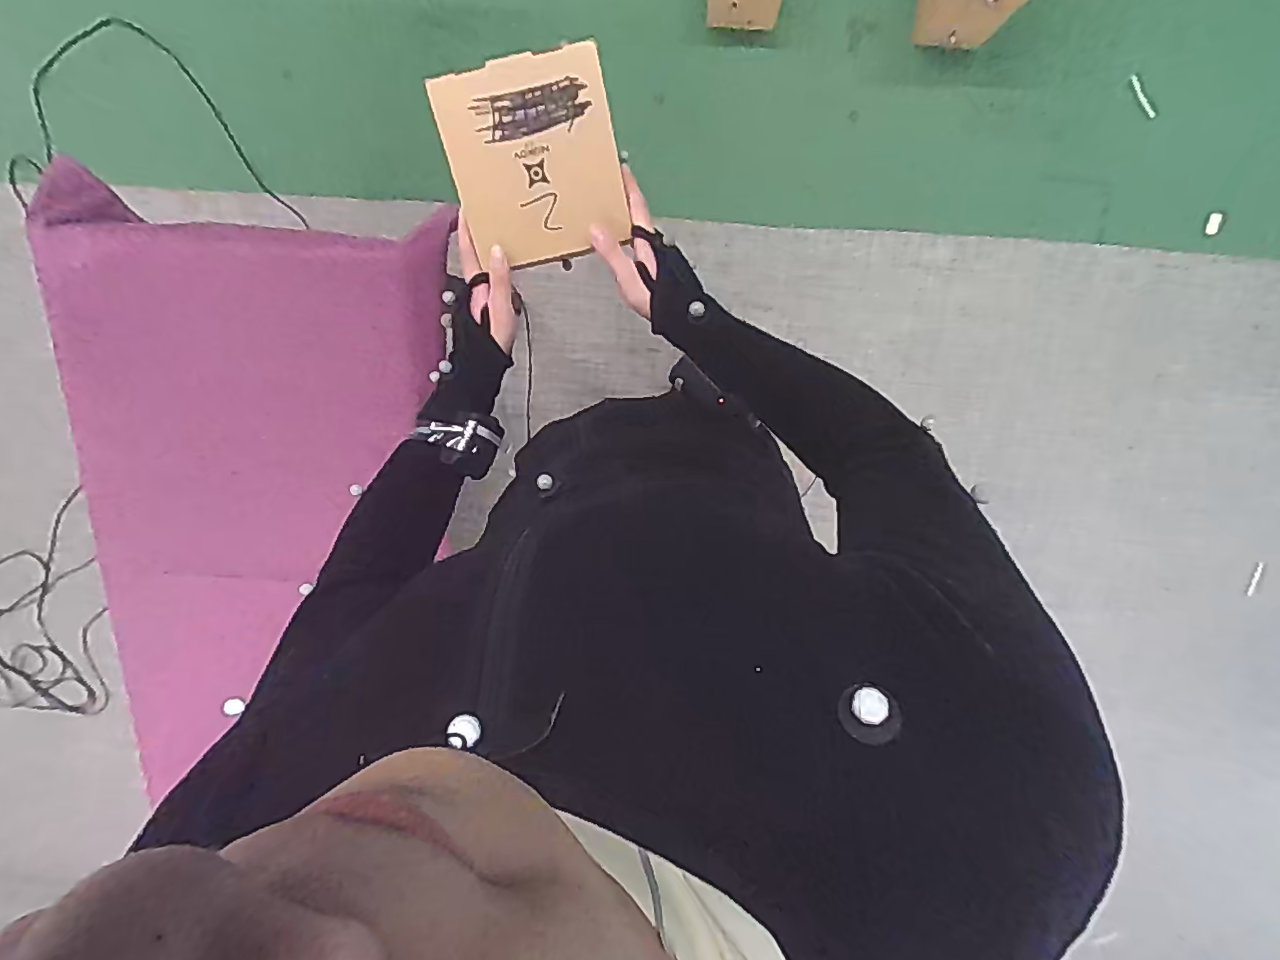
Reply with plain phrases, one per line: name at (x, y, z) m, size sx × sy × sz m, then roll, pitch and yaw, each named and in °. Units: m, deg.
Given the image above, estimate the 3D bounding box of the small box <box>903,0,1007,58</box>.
small box at (0.734, -1.123, 1.244) m, size 0.168 × 0.176 × 0.179 m, roll 6°, pitch 104°, yaw 1°

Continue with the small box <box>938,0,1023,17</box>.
small box at (0.729, -1.085, 1.084) m, size 0.168 × 0.176 × 0.179 m, roll 5°, pitch 104°, yaw 1°

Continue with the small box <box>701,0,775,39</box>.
small box at (0.233, -1.171, 1.258) m, size 0.168 × 0.176 × 0.179 m, roll 5°, pitch 103°, yaw 2°
